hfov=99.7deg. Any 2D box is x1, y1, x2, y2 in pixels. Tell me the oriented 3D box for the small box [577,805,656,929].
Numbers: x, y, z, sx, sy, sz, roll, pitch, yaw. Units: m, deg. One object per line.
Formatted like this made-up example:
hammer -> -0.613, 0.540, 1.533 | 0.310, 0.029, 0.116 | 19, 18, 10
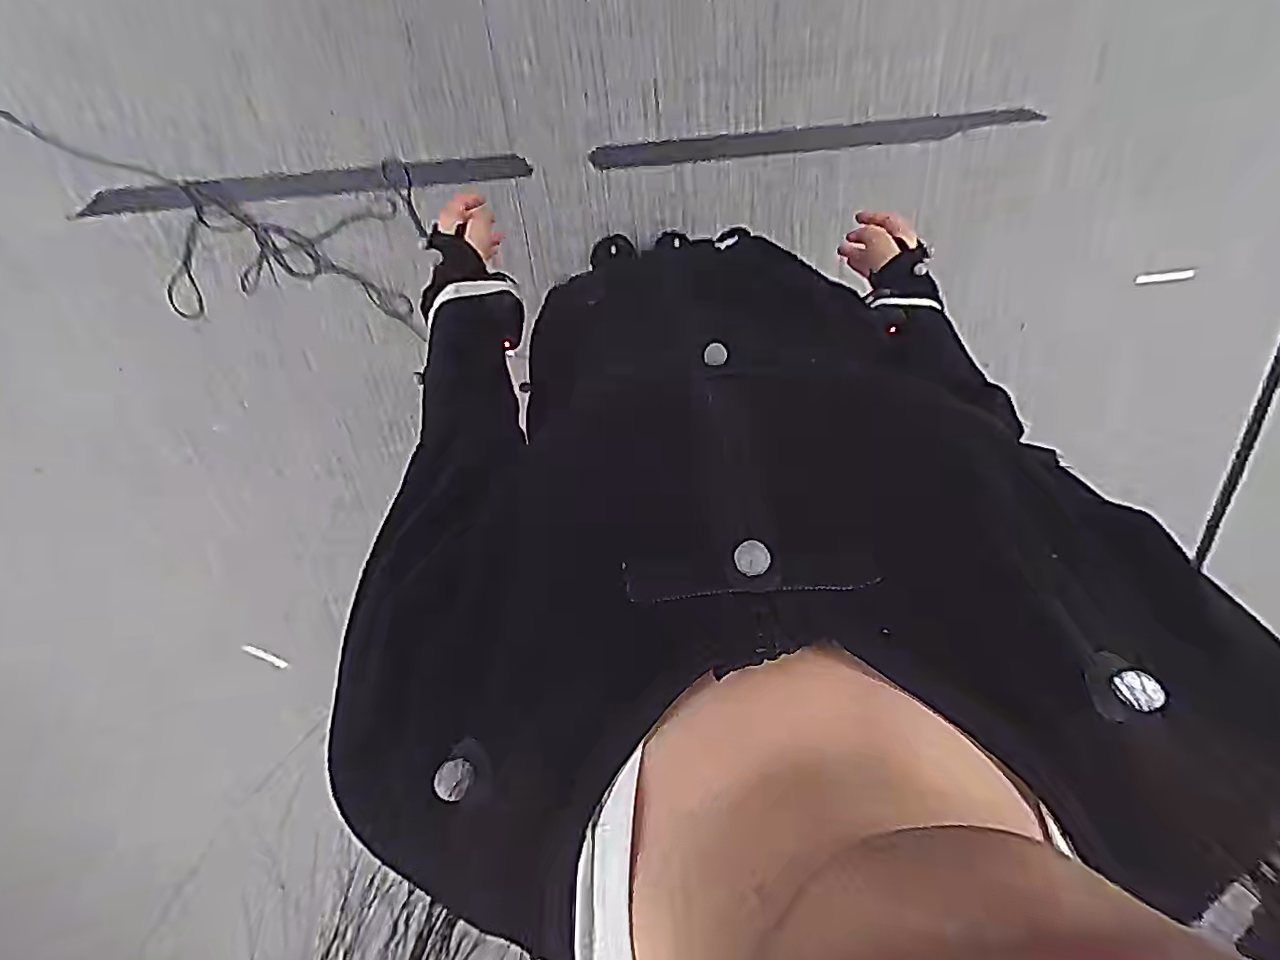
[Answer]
small box -> -0.055, 0.872, 1.233 | 0.168, 0.176, 0.179 | -4, 115, -2
